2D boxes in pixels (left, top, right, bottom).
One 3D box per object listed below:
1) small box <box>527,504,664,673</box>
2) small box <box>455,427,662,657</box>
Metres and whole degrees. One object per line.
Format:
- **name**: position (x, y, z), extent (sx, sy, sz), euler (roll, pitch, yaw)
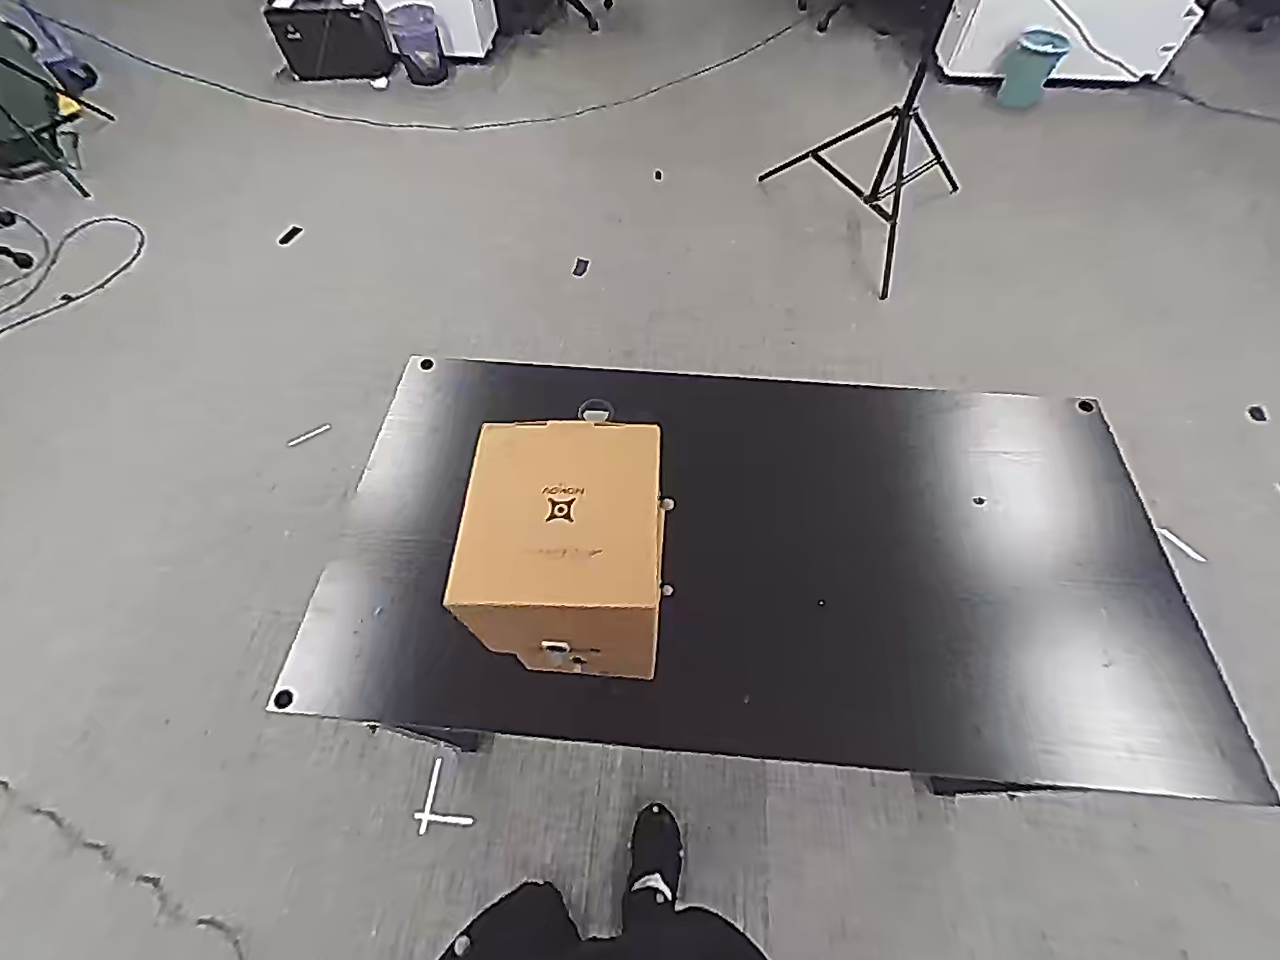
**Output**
- **small box**: position (-0.058, 0.136, 0.683), extent (0.168, 0.176, 0.179), euler (4, 58, 2)
- **small box**: position (-0.063, 0.065, 0.536), extent (0.168, 0.176, 0.179), euler (0, 60, 2)
